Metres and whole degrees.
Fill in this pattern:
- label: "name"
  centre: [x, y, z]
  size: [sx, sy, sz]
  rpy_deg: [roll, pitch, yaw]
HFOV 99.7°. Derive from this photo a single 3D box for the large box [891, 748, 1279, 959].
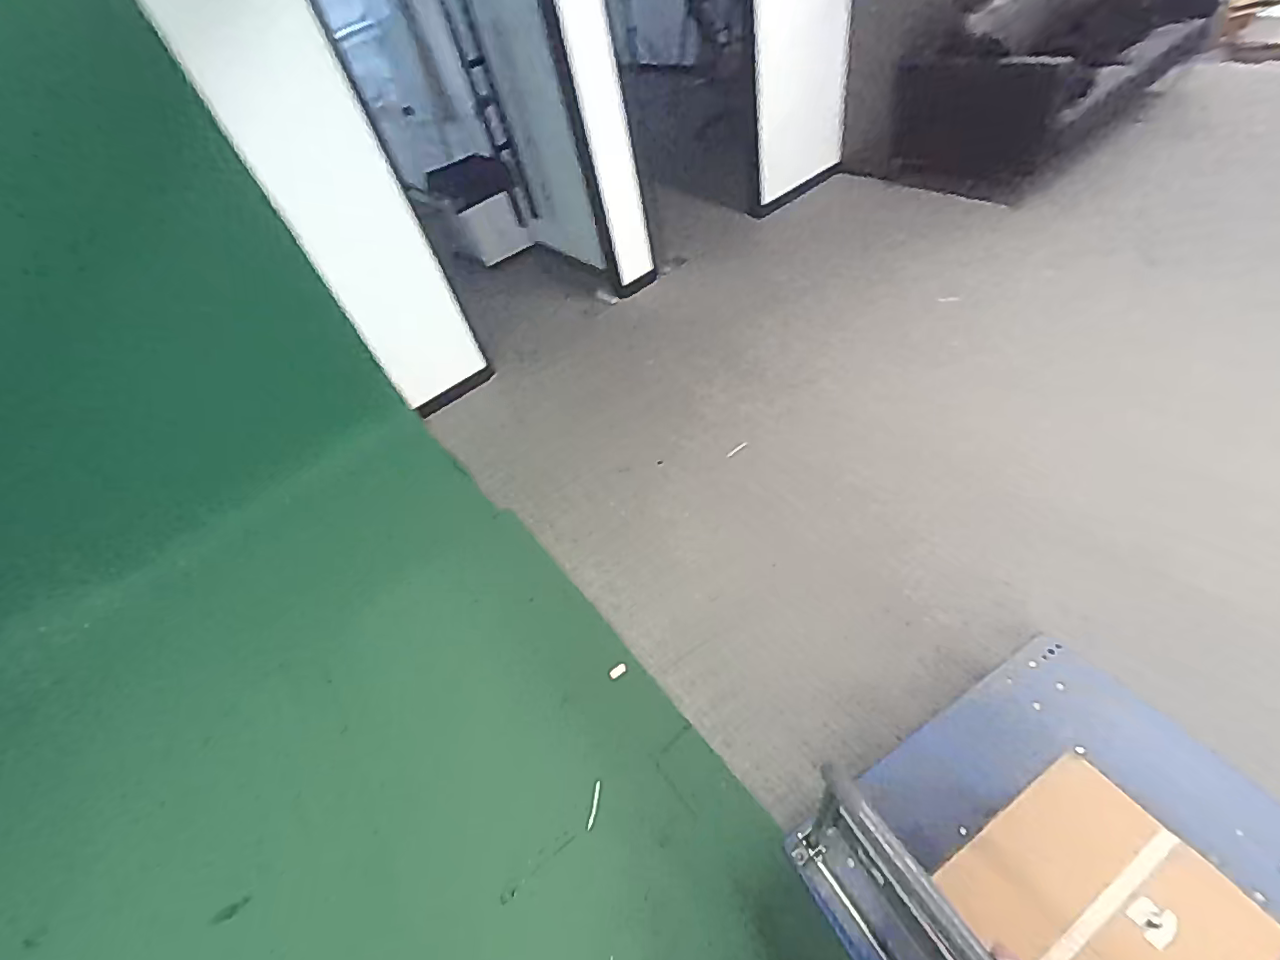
- label: "large box"
  centre: [0.708, 0.761, 0.925]
  size: [0.408, 0.320, 0.320]
  rpy_deg: [-30, 48, -14]
